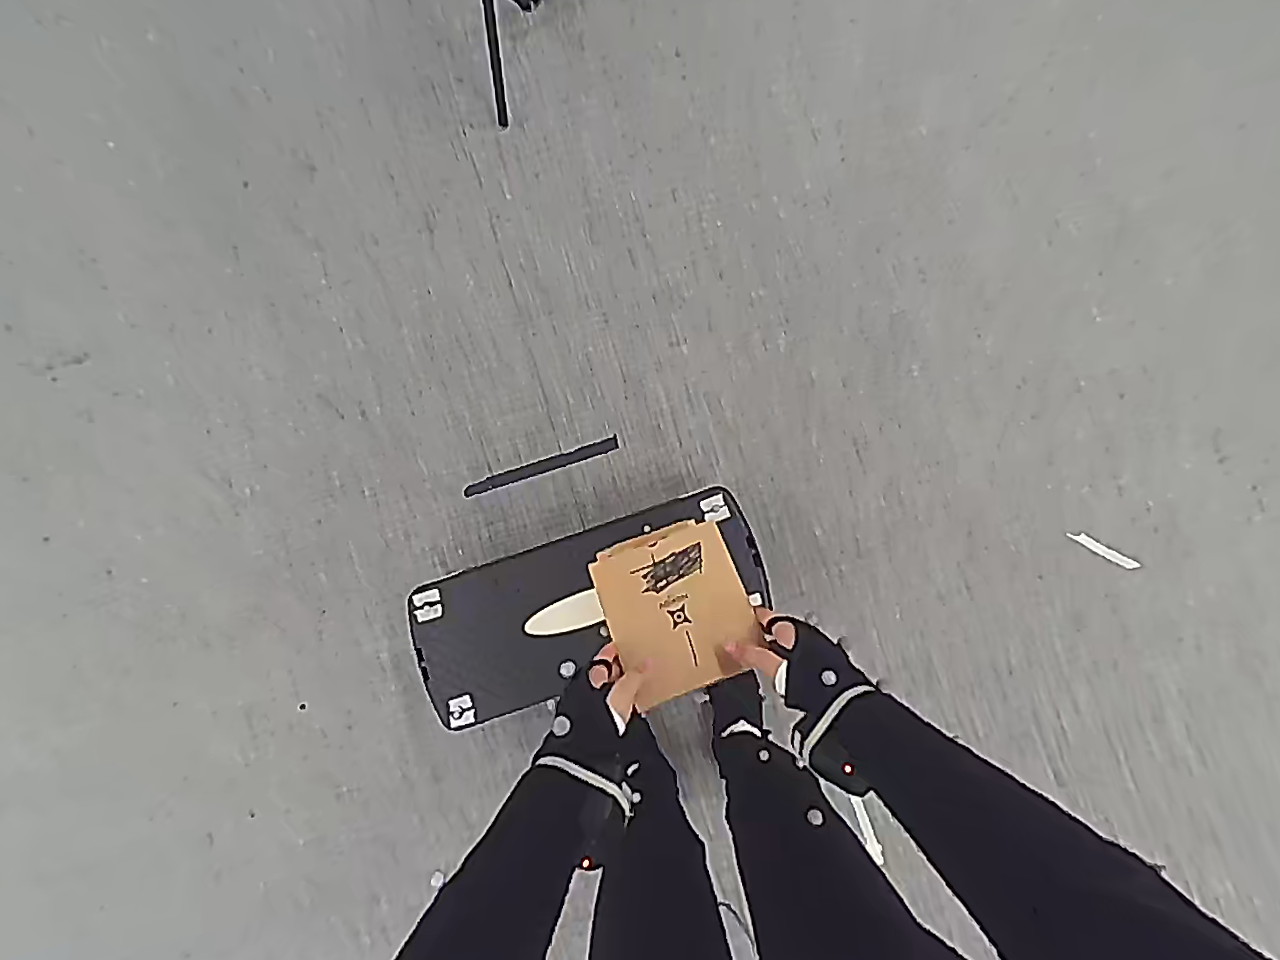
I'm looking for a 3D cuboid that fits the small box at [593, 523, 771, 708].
[{"bbox_3d":[0.047,0.183,0.704,0.168,0.176,0.179,-19,67,-5],"label":"small box"}]

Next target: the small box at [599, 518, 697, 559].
[{"bbox_3d":[0.039,0.175,0.928,0.168,0.176,0.179,-20,85,0],"label":"small box"}]

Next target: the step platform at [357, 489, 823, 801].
[{"bbox_3d":[-0.075,0.249,0.887,0.684,0.204,0.286,-19,84,-2],"label":"step platform"}]
